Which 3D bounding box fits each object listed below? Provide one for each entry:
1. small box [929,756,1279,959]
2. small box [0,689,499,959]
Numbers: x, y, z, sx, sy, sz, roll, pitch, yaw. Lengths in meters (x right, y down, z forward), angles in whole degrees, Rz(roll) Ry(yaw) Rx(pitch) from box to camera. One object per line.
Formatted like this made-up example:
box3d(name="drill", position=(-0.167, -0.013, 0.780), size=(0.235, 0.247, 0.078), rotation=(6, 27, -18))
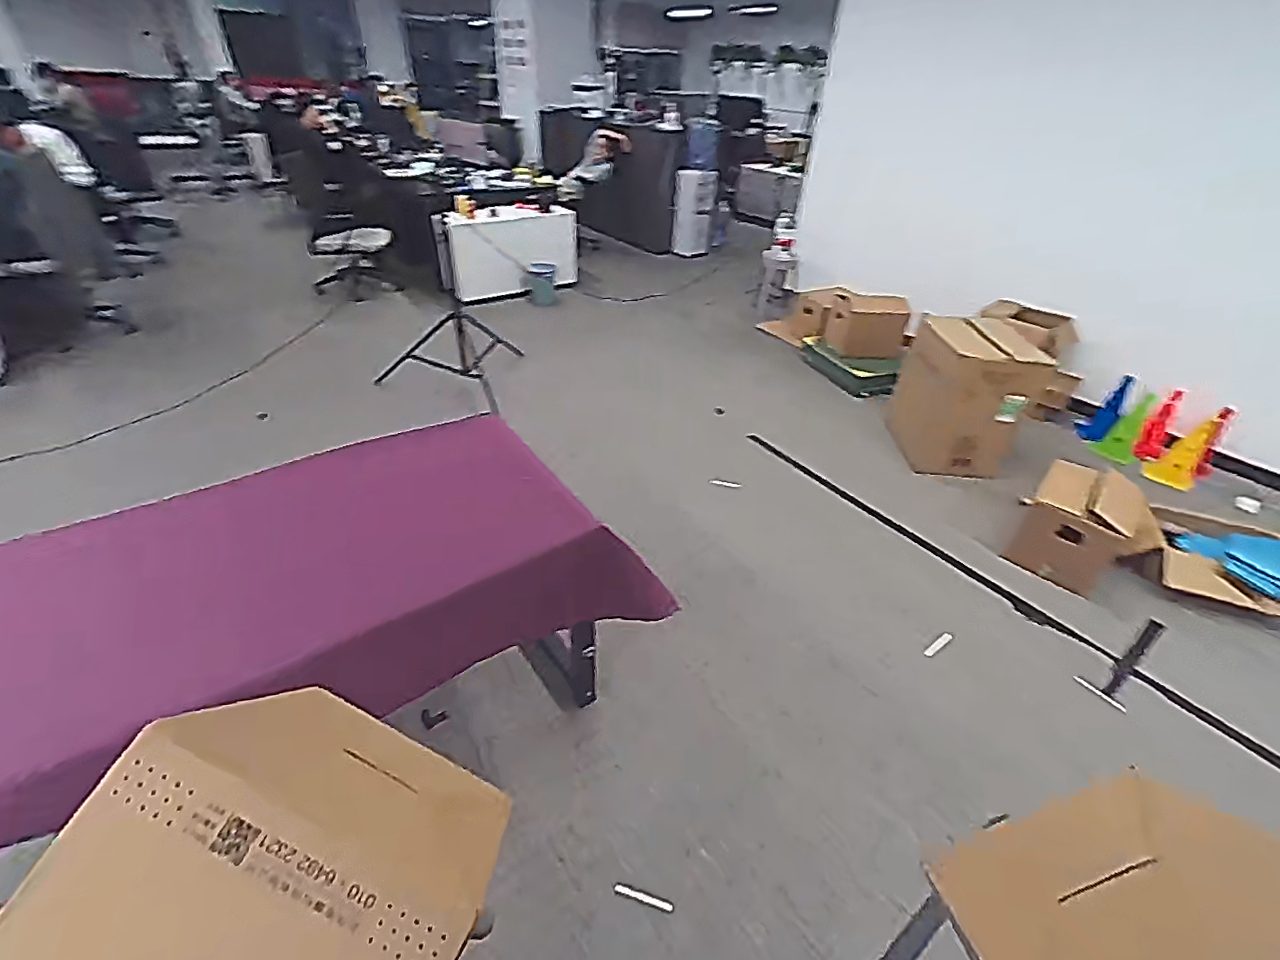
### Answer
box3d(name="small box", position=(0.287, 0.279, 0.278), size=(0.168, 0.179, 0.176), rotation=(-27, 79, 5))
box3d(name="small box", position=(-0.190, 0.224, 0.275), size=(0.168, 0.179, 0.176), rotation=(29, 71, 1))
